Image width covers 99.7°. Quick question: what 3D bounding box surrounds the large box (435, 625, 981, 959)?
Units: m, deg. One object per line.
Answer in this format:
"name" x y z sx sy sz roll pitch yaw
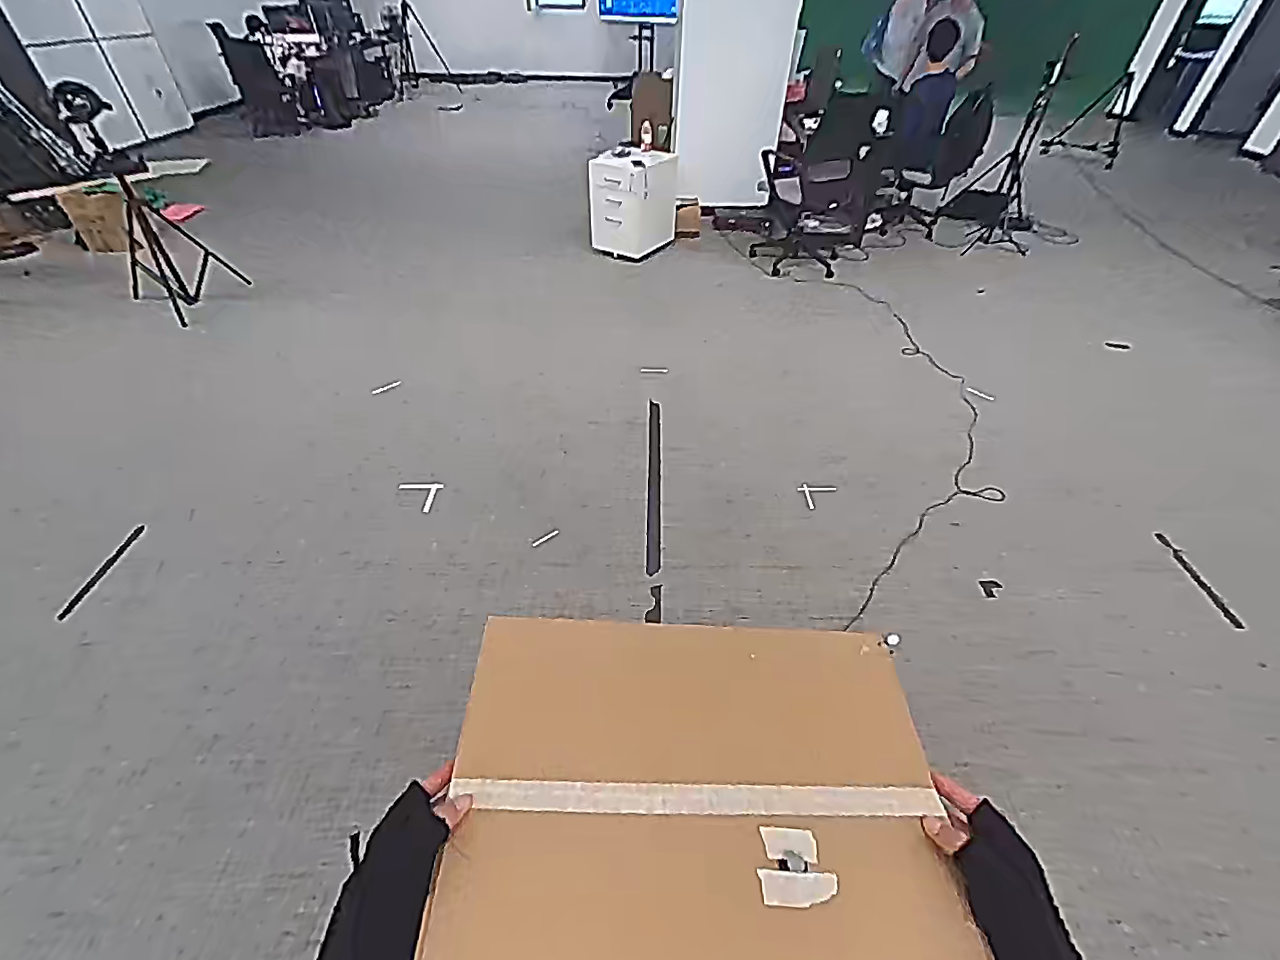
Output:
"large box" 0.039 0.369 0.566 0.408 0.320 0.320 3 47 -4
